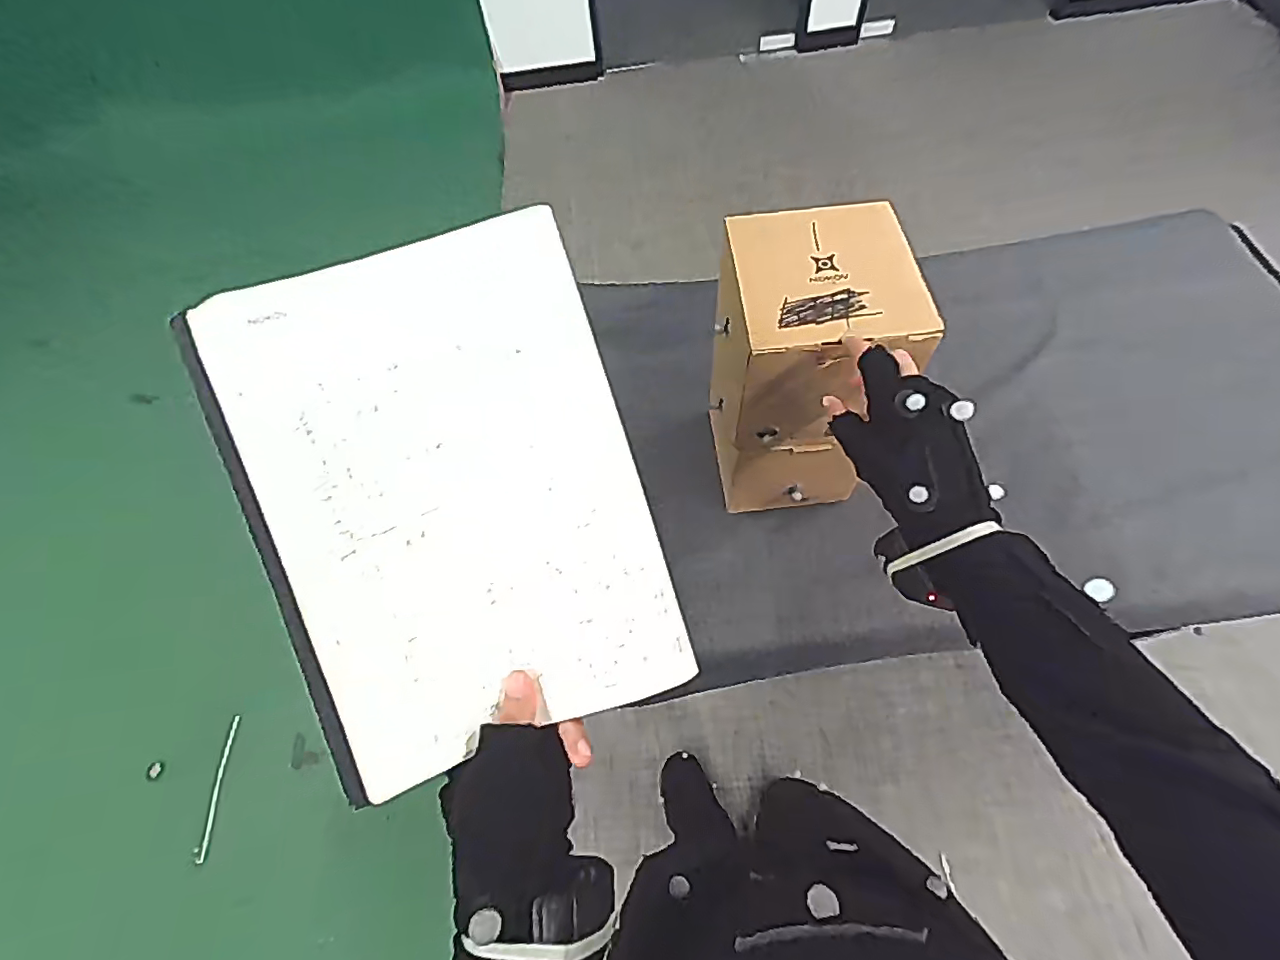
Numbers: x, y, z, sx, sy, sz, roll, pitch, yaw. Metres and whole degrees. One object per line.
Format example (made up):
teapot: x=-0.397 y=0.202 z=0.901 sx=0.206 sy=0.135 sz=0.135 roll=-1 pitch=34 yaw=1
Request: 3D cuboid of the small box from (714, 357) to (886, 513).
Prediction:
small box: x=0.193 y=-0.075 z=0.714 sx=0.168 sy=0.176 sz=0.179 roll=-6 pitch=62 yaw=2

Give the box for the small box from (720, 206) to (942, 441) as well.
small box: x=0.179 y=-0.153 z=0.571 sx=0.168 sy=0.176 sz=0.179 roll=-5 pitch=61 yaw=2
